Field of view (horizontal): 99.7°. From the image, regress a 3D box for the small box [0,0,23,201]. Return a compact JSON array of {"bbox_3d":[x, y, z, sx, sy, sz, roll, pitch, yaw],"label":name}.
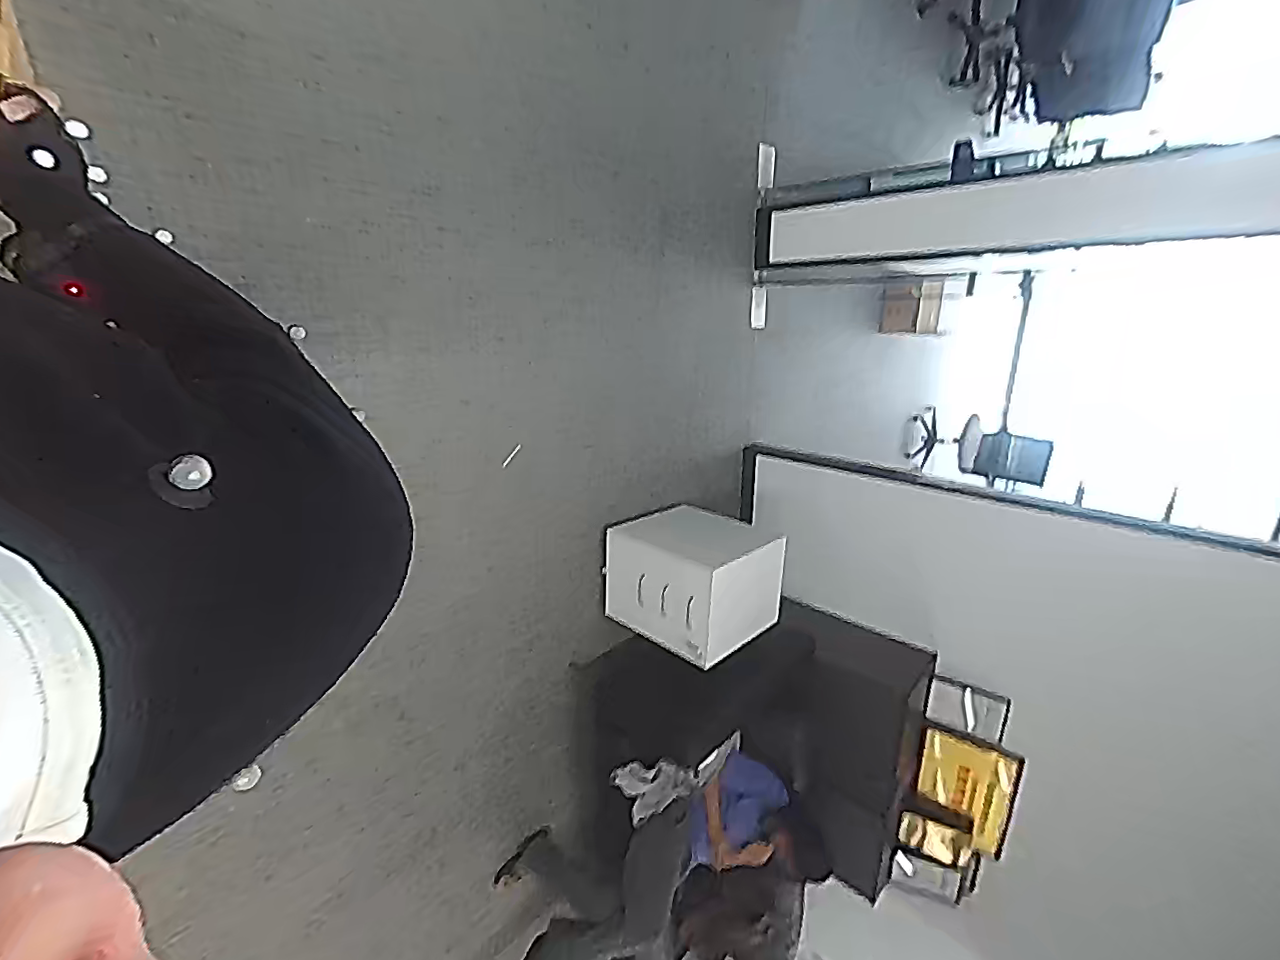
[{"bbox_3d":[-0.665,-0.364,0.461,0.179,0.176,0.168,-2,90,-44],"label":"small box"}]
